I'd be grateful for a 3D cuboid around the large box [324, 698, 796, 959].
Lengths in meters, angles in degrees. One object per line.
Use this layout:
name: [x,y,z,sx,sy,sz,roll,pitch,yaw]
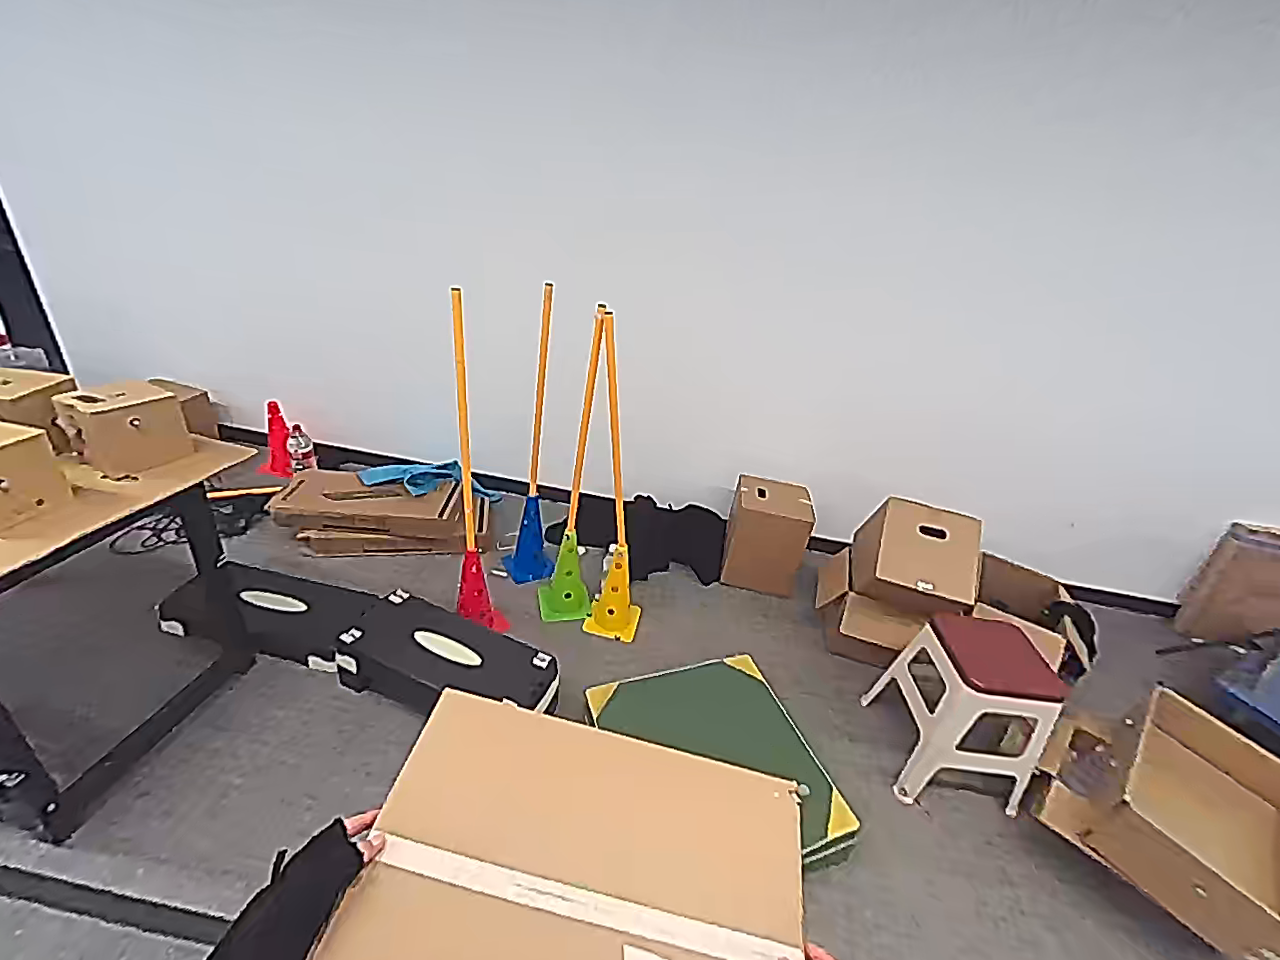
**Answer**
large box: [-0.076,0.500,0.589,0.408,0.320,0.320,14,40,3]
